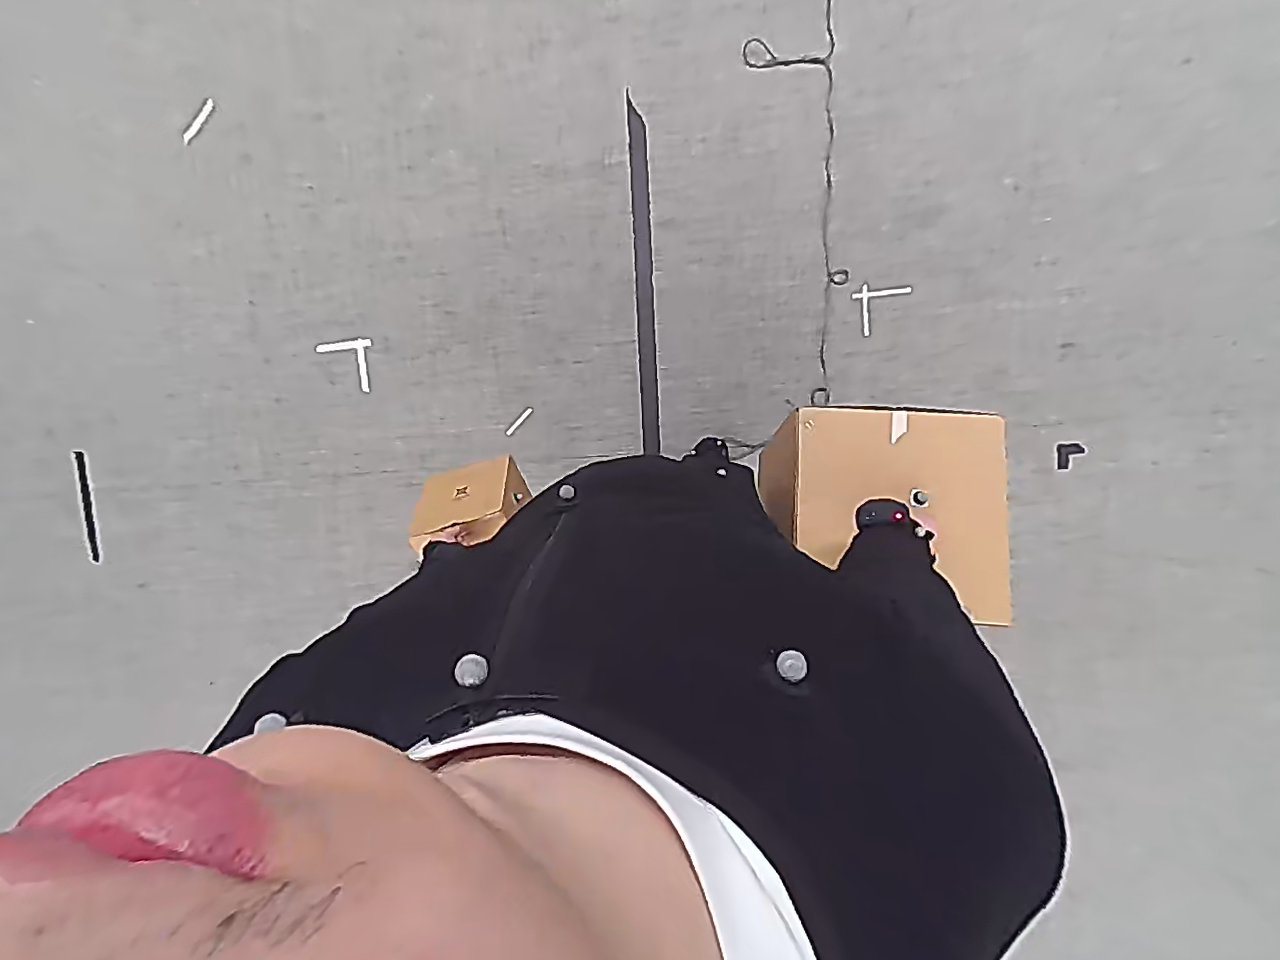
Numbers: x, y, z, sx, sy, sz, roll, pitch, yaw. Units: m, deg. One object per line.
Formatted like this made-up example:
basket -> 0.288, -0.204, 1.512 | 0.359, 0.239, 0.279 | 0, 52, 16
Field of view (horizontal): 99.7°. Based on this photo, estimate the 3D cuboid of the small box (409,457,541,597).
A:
small box -> -0.287, 0.091, 0.984 | 0.168, 0.179, 0.176 | -16, 126, 3
